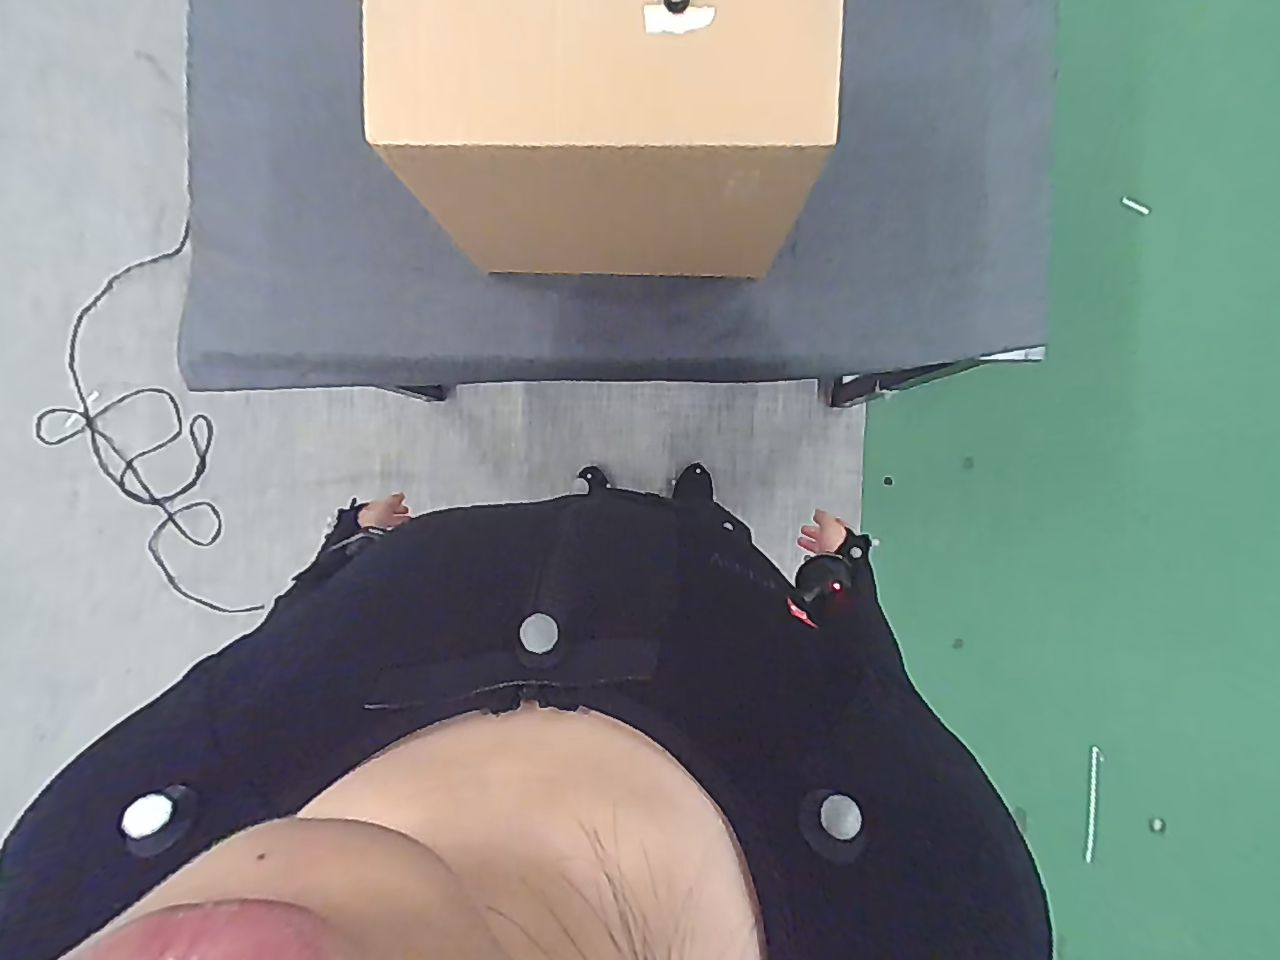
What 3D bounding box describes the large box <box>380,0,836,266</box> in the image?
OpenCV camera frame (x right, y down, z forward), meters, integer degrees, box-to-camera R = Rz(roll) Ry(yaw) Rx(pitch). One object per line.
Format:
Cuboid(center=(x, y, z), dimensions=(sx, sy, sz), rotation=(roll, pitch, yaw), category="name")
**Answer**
Cuboid(center=(-0.027, -0.454, 0.616), dimensions=(0.408, 0.320, 0.320), rotation=(1, 92, 1), category="large box")
